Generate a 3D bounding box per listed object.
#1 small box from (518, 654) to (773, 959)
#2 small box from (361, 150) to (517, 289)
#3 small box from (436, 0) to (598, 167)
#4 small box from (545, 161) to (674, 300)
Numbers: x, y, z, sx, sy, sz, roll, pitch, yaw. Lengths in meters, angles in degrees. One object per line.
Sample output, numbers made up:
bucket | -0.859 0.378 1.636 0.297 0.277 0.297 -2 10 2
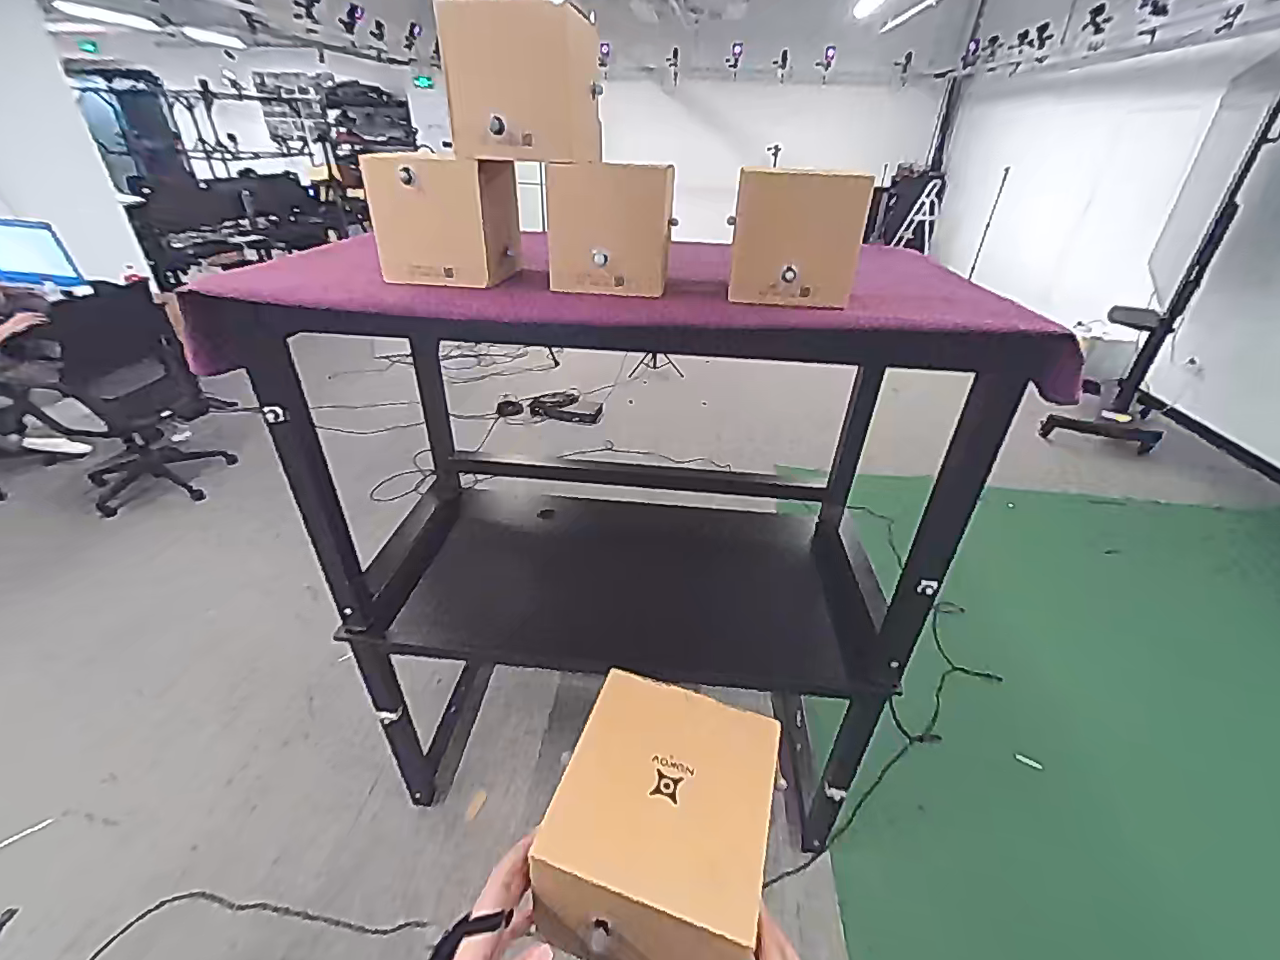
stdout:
small box | 0.012 0.295 0.477 0.168 0.176 0.179 13 33 13
small box | -0.293 -0.403 0.834 0.168 0.176 0.179 4 30 4
small box | -0.156 -0.534 0.745 0.168 0.176 0.179 6 32 6
small box | -0.041 -0.382 0.819 0.168 0.176 0.179 5 32 5
